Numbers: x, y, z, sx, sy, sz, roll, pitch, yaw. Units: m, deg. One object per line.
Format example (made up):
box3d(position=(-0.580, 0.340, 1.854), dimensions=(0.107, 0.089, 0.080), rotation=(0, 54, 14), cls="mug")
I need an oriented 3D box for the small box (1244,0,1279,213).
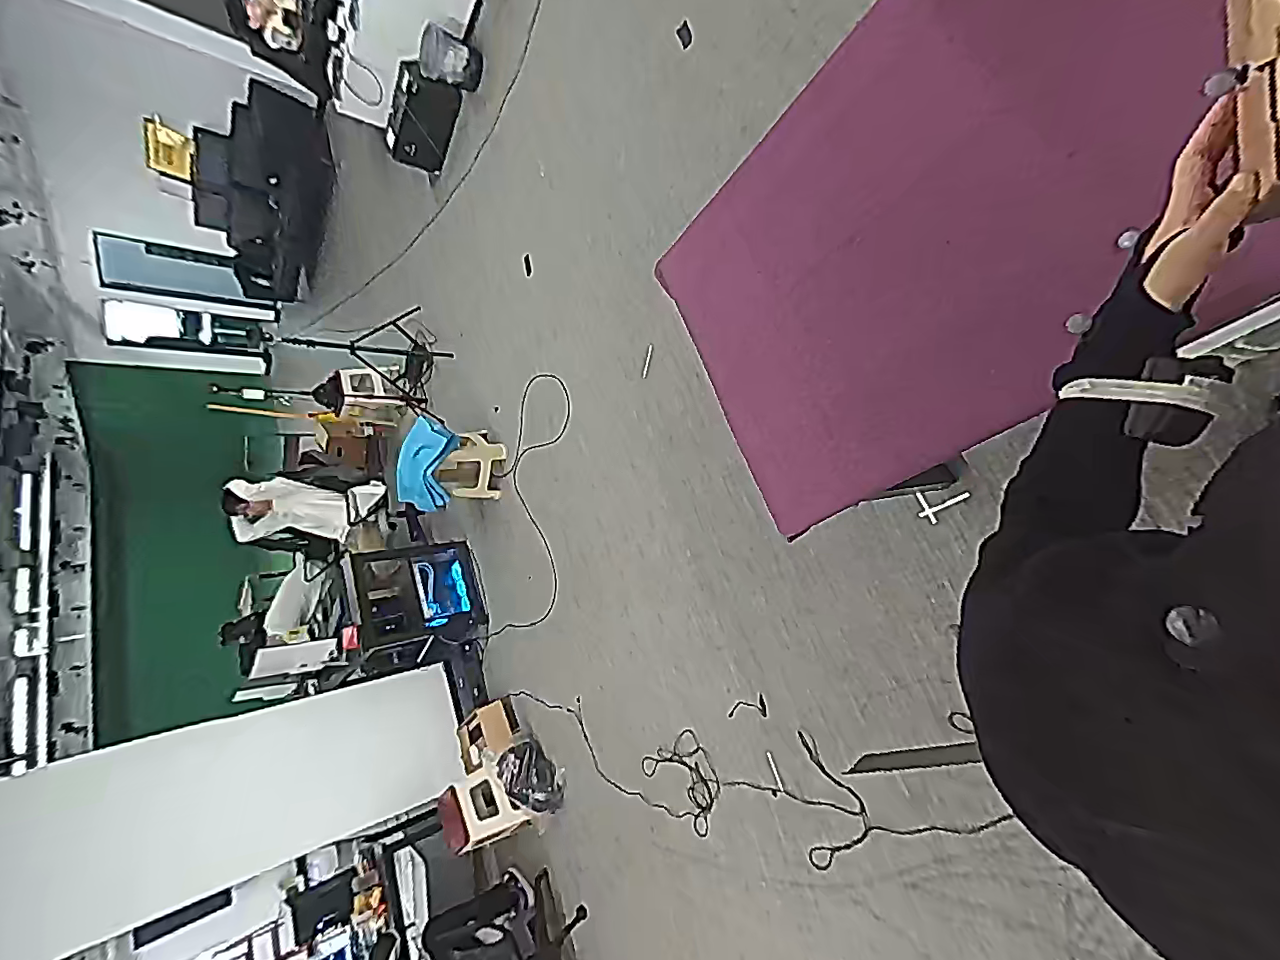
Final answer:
box3d(position=(0.429, -0.252, 0.264), dimensions=(0.179, 0.176, 0.168), rotation=(-3, 99, 45), cls="small box")
